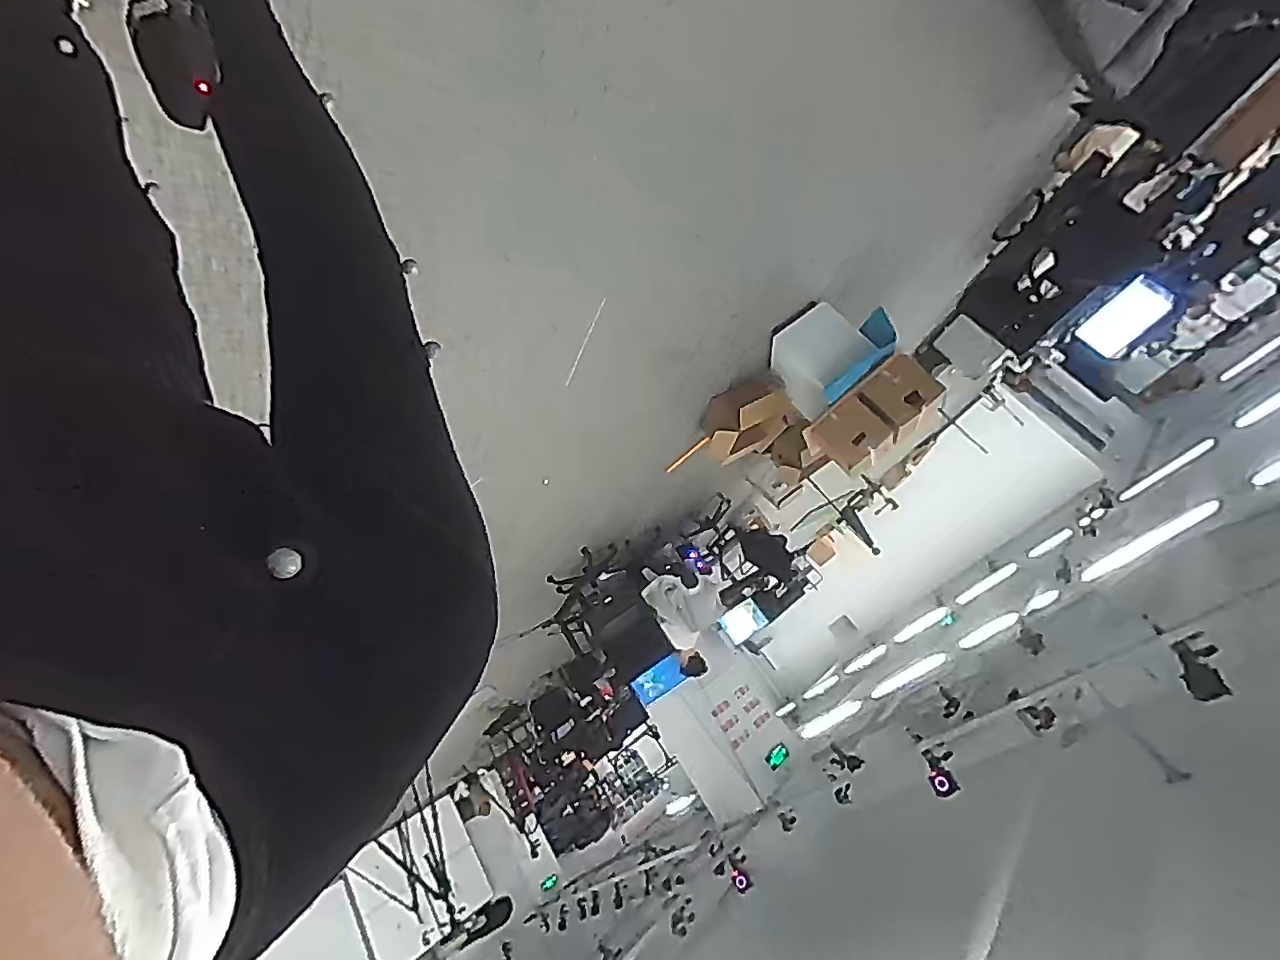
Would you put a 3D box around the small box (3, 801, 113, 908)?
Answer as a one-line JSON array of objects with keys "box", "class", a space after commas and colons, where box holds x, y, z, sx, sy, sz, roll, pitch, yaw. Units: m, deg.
[{"box": [-1.551, 0.995, 1.445, 0.168, 0.176, 0.179, -16, 152, -42], "class": "small box"}]

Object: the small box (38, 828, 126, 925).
[{"box": [-1.701, 1.202, 1.648, 0.168, 0.176, 0.179, -13, 147, -43], "class": "small box"}]
